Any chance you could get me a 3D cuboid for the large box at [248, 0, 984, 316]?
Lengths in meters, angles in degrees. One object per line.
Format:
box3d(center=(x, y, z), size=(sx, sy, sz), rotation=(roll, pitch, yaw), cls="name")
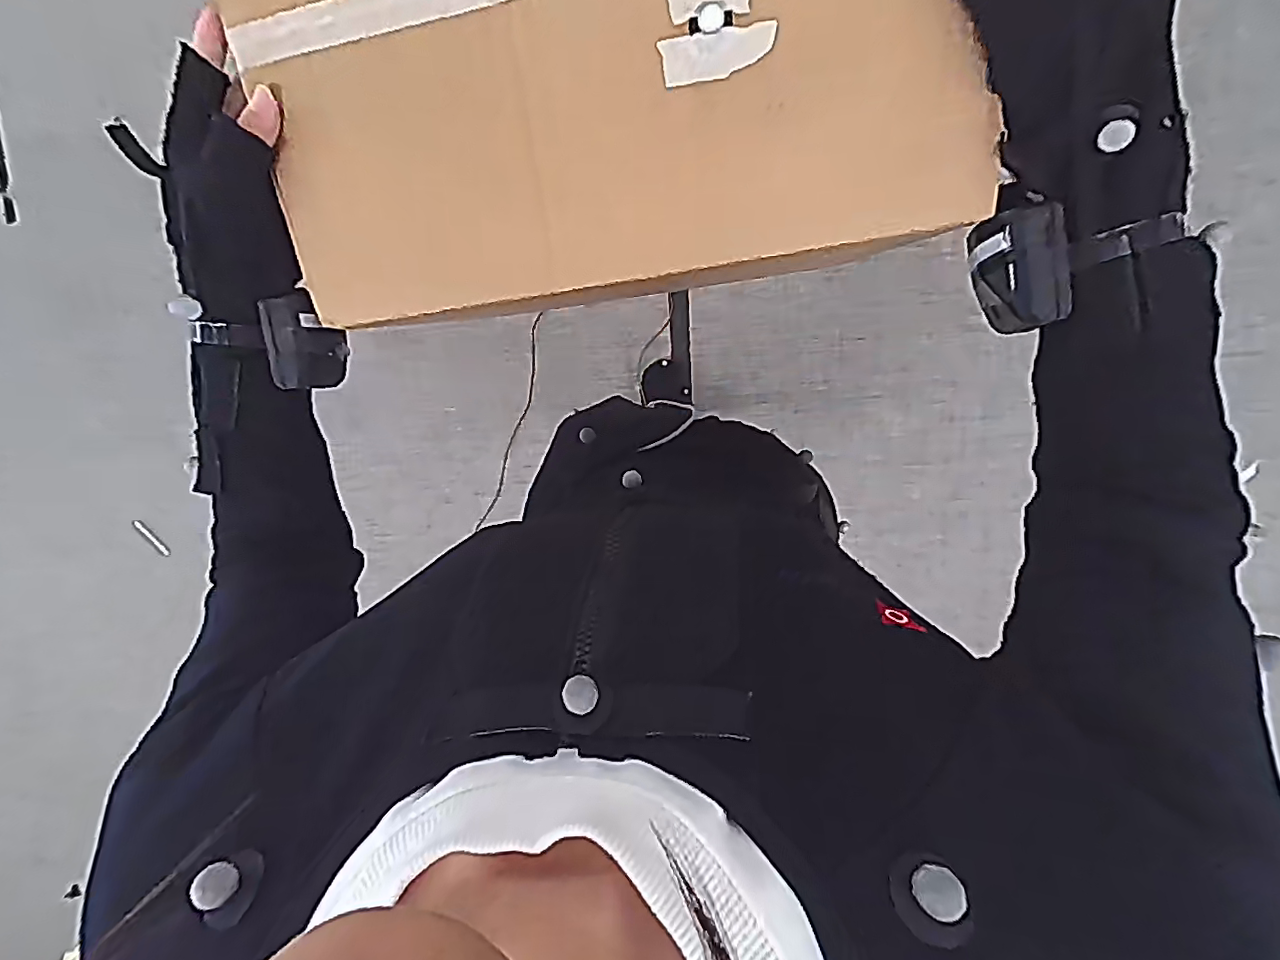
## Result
box3d(center=(-0.013, -0.323, 0.427), size=(0.408, 0.320, 0.320), rotation=(-6, 108, 9), cls="large box")
